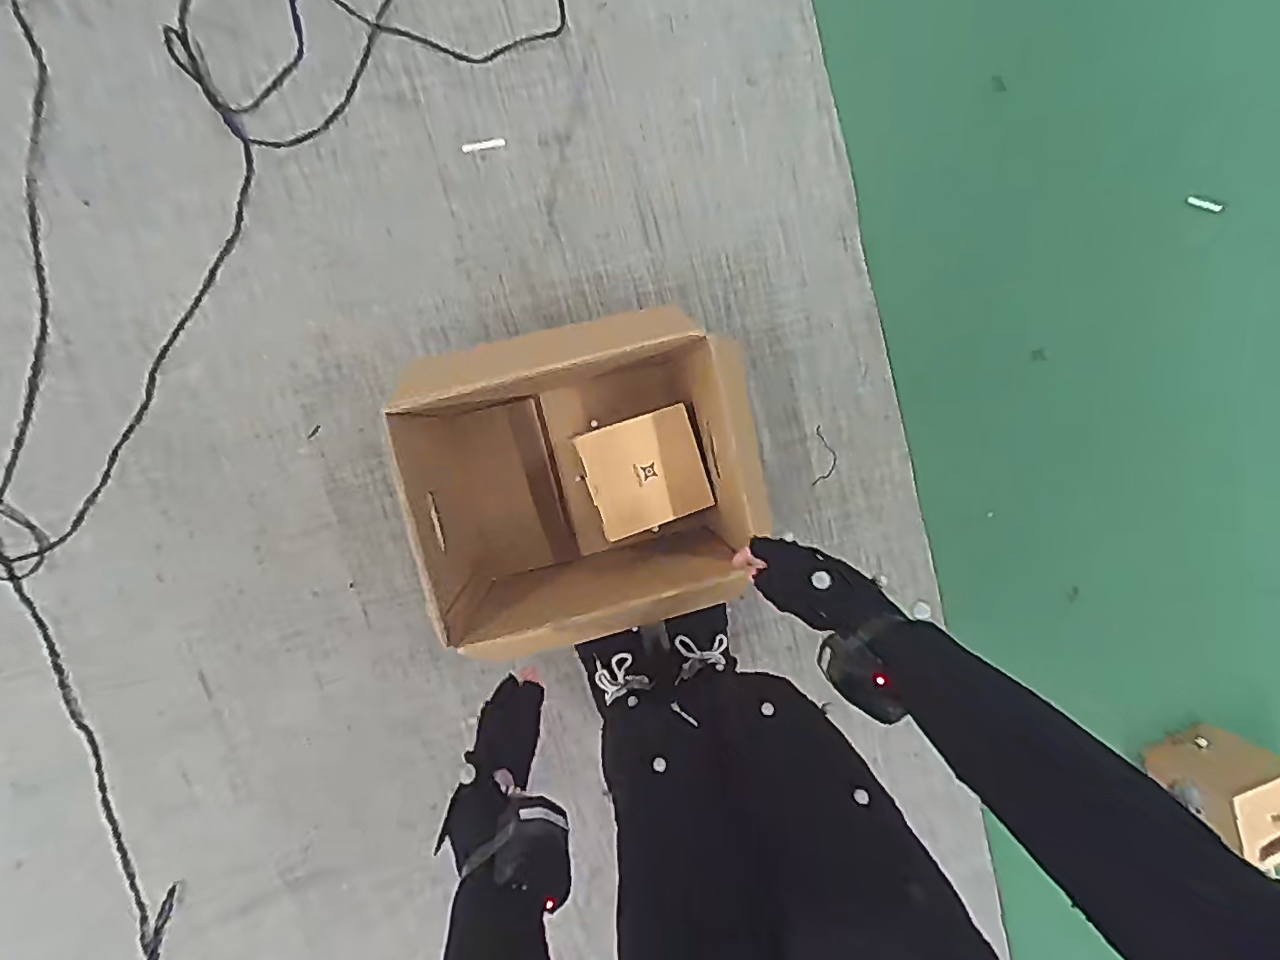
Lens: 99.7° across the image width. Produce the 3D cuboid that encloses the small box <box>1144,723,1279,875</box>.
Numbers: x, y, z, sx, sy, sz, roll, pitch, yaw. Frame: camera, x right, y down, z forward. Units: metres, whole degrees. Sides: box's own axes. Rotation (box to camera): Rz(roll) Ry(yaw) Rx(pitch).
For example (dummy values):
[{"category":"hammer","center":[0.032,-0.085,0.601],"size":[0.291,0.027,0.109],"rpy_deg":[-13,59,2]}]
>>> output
[{"category":"small box","center":[1.186,0.633,1.094],"size":[0.168,0.176,0.179],"rpy_deg":[-18,97,-4]}]
